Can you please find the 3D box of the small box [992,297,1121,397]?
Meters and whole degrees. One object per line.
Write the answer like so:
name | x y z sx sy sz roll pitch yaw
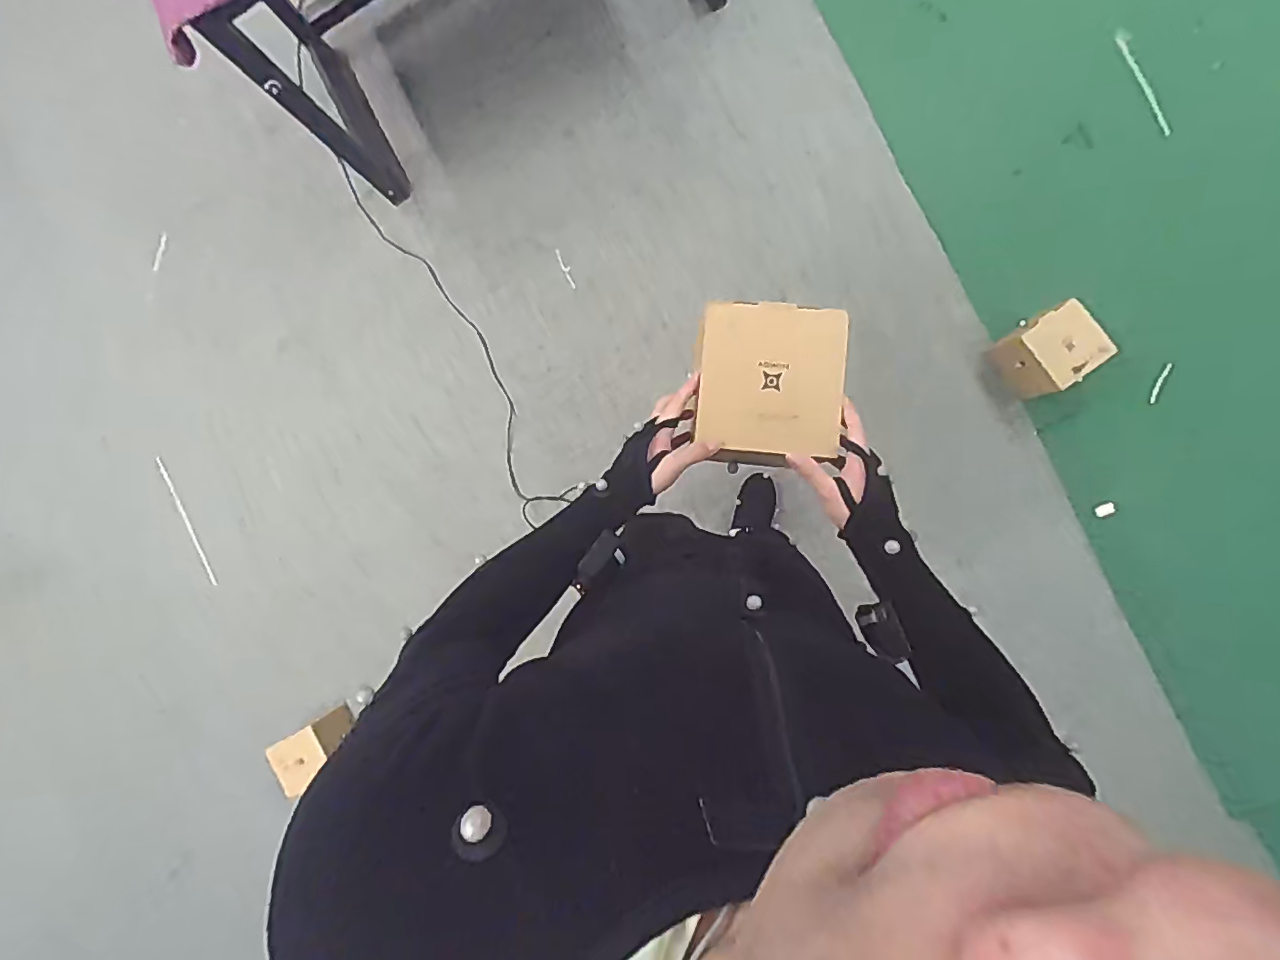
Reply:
small box | 1.083 -0.341 1.425 0.168 0.176 0.179 -36 86 6

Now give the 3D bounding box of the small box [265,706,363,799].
small box | -0.999 0.836 1.680 0.179 0.176 0.168 -29 86 6

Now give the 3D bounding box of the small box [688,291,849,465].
small box | 0.153 -0.119 0.692 0.168 0.176 0.179 5 87 2
